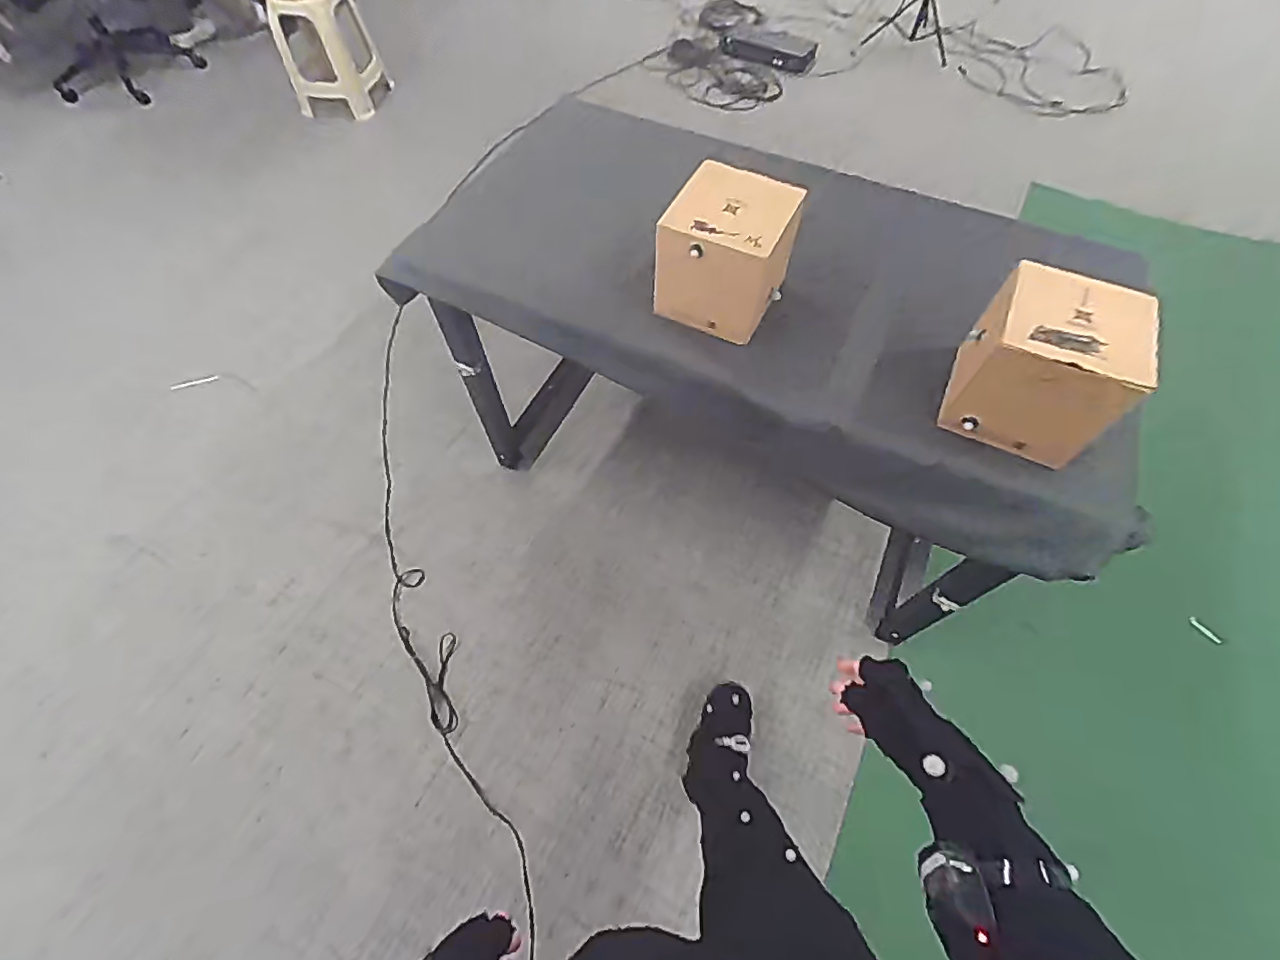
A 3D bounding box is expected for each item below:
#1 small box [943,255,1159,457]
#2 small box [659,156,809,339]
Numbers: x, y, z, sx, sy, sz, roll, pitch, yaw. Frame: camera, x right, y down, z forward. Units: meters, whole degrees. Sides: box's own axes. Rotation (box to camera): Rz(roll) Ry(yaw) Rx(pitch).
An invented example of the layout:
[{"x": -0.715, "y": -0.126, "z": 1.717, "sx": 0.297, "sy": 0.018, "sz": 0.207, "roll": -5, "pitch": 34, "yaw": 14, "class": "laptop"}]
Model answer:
[{"x": 0.537, "y": -0.160, "z": 0.726, "sx": 0.168, "sy": 0.176, "sz": 0.179, "roll": 24, "pitch": 62, "yaw": 13, "class": "small box"}, {"x": 0.135, "y": -0.355, "z": 0.837, "sx": 0.168, "sy": 0.176, "sz": 0.179, "roll": 24, "pitch": 63, "yaw": 13, "class": "small box"}]
